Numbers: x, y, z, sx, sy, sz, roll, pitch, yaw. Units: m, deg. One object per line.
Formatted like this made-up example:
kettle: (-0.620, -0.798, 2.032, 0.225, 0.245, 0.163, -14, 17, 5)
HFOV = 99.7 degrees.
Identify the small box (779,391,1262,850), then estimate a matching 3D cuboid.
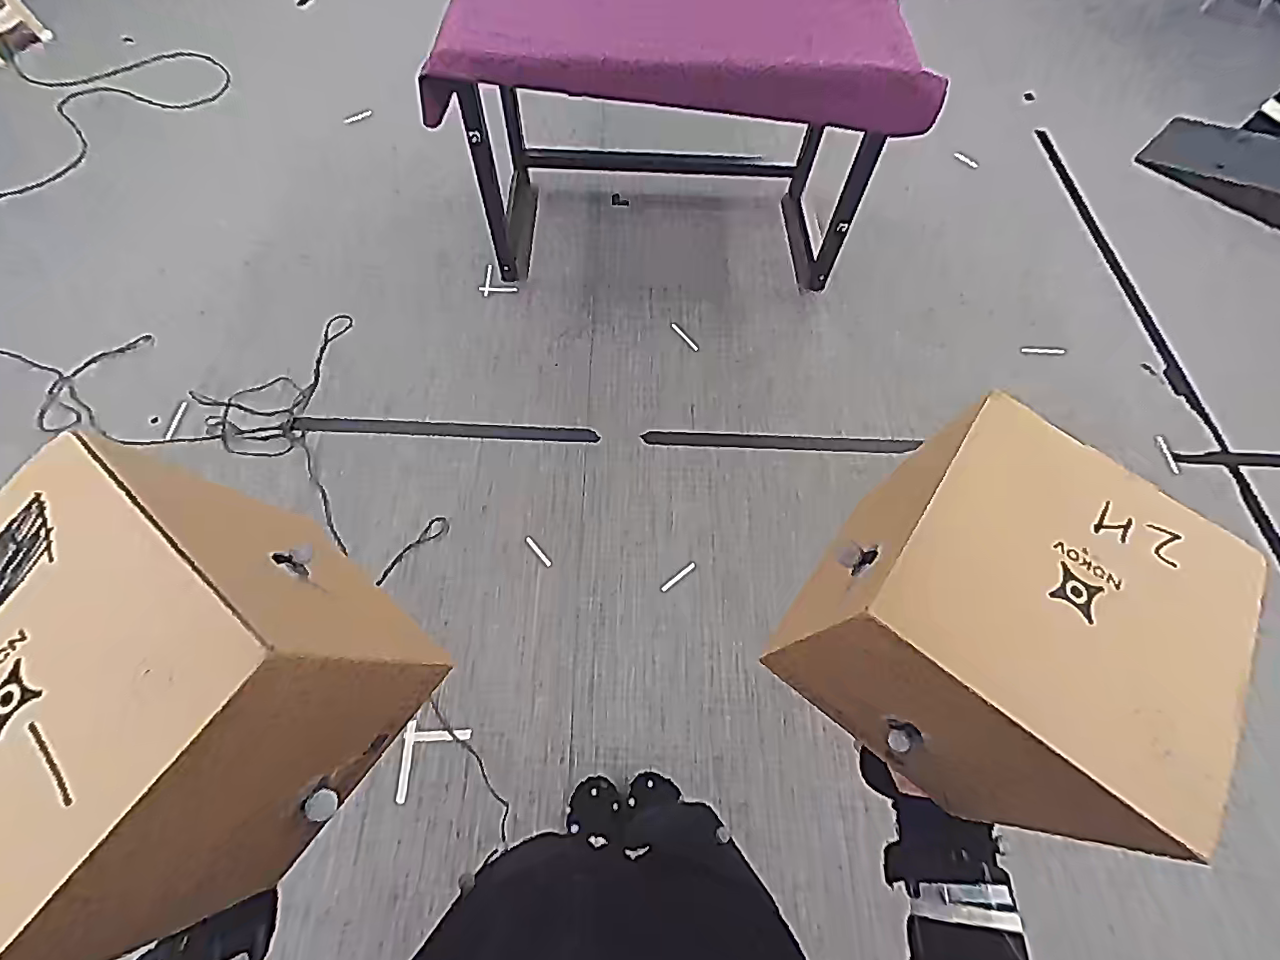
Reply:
small box: (0.212, 0.086, 0.346, 0.168, 0.176, 0.179, 37, 65, 10)

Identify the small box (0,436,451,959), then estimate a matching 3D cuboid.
small box: (-0.247, 0.112, 0.301, 0.179, 0.176, 0.168, 34, 77, 17)
